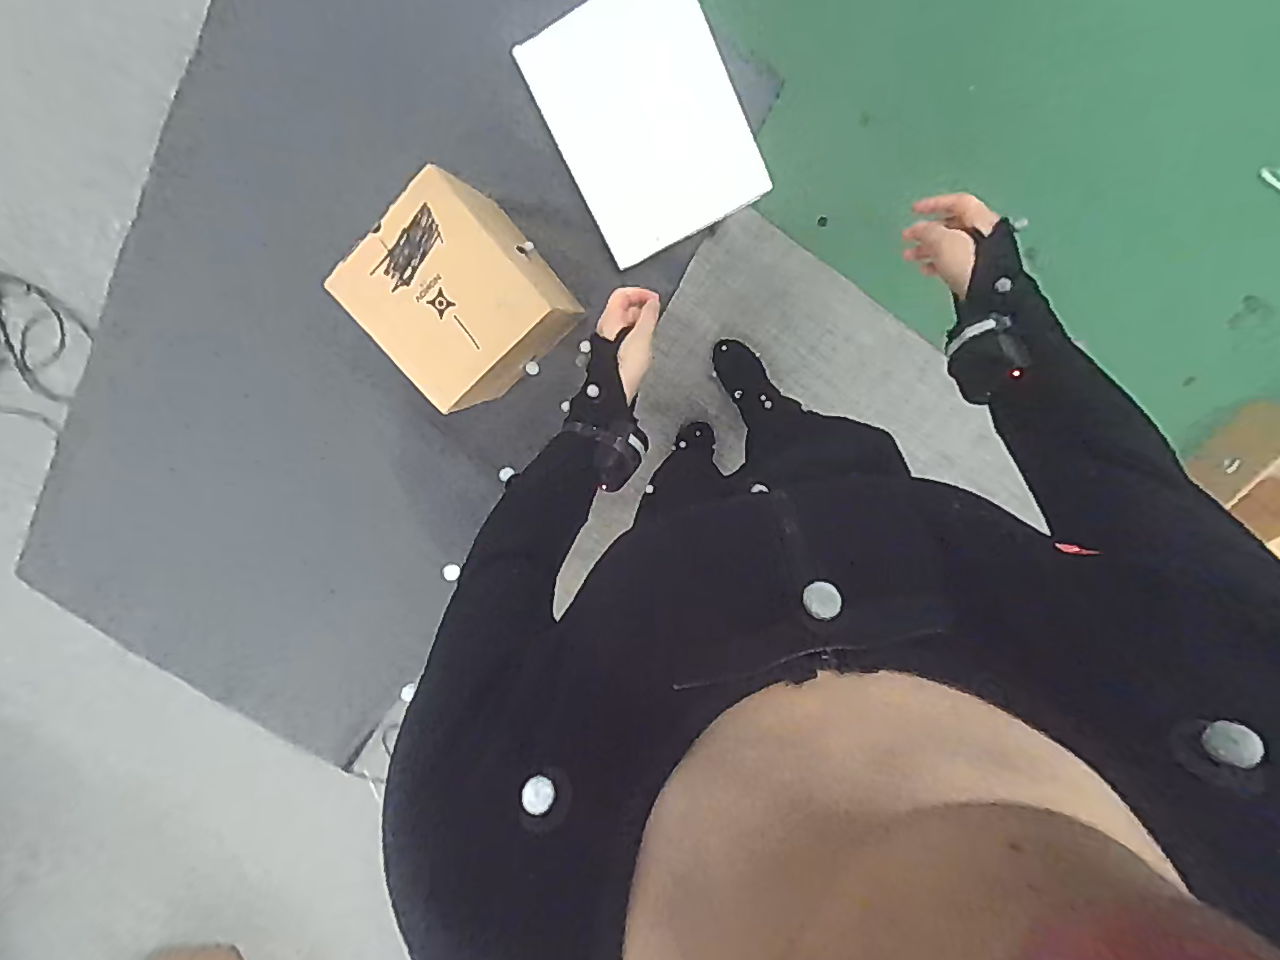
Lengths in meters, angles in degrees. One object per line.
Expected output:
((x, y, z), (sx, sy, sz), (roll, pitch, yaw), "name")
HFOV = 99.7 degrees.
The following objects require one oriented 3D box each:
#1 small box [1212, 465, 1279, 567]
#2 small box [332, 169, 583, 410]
((1.489, 0.093, 1.238), (0.168, 0.176, 0.179), (44, 106, -8), "small box")
((-0.191, -0.204, 0.618), (0.168, 0.176, 0.179), (-40, 98, 16), "small box")
